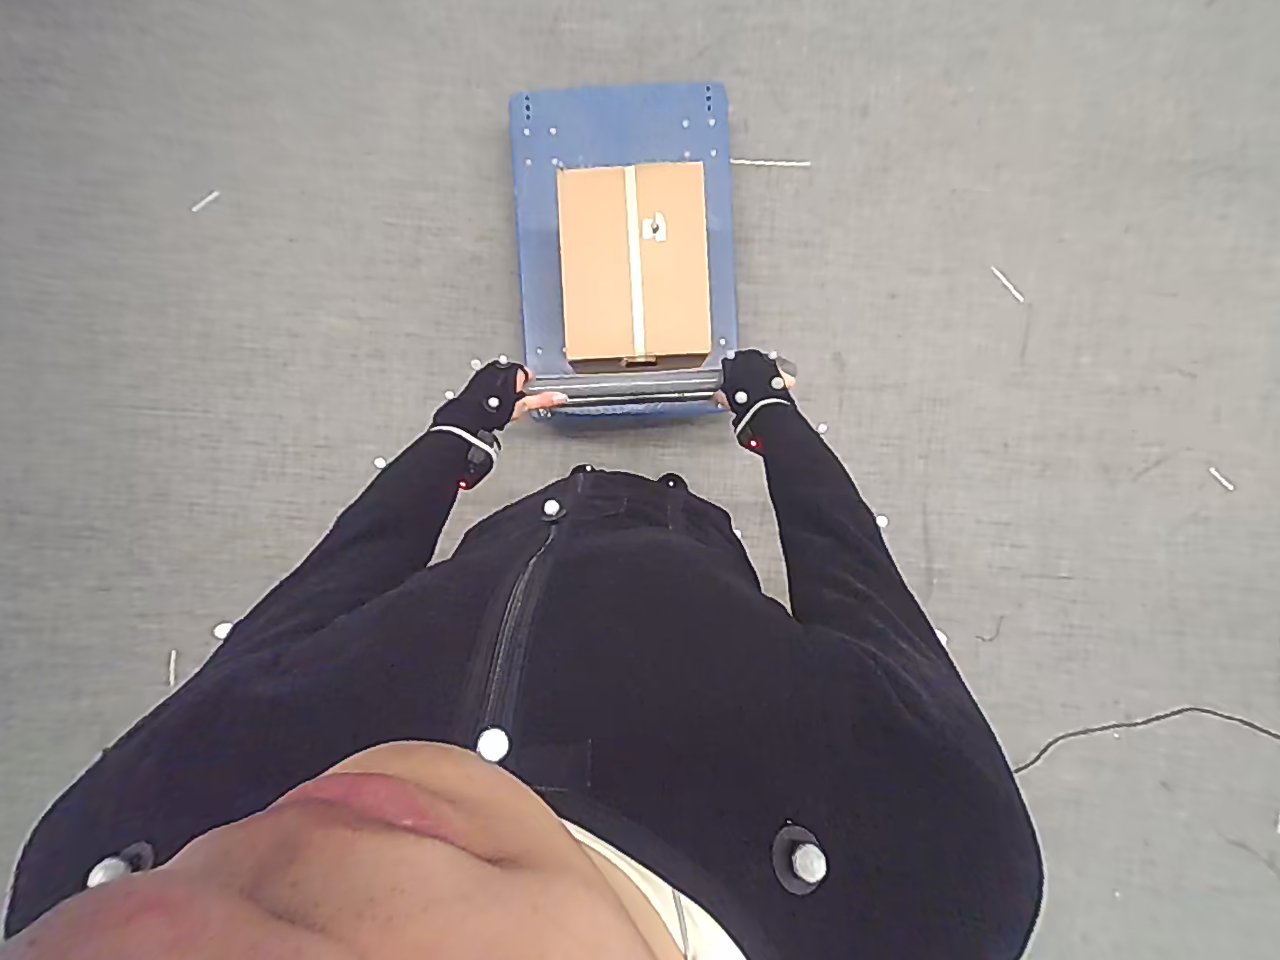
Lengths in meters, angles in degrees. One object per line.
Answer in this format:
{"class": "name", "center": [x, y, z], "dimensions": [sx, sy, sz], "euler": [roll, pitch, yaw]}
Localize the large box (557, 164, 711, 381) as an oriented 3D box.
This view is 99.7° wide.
{"class": "large box", "center": [-0.011, -0.470, 1.306], "dimensions": [0.320, 0.320, 0.408], "euler": [-3, 92, 0]}
